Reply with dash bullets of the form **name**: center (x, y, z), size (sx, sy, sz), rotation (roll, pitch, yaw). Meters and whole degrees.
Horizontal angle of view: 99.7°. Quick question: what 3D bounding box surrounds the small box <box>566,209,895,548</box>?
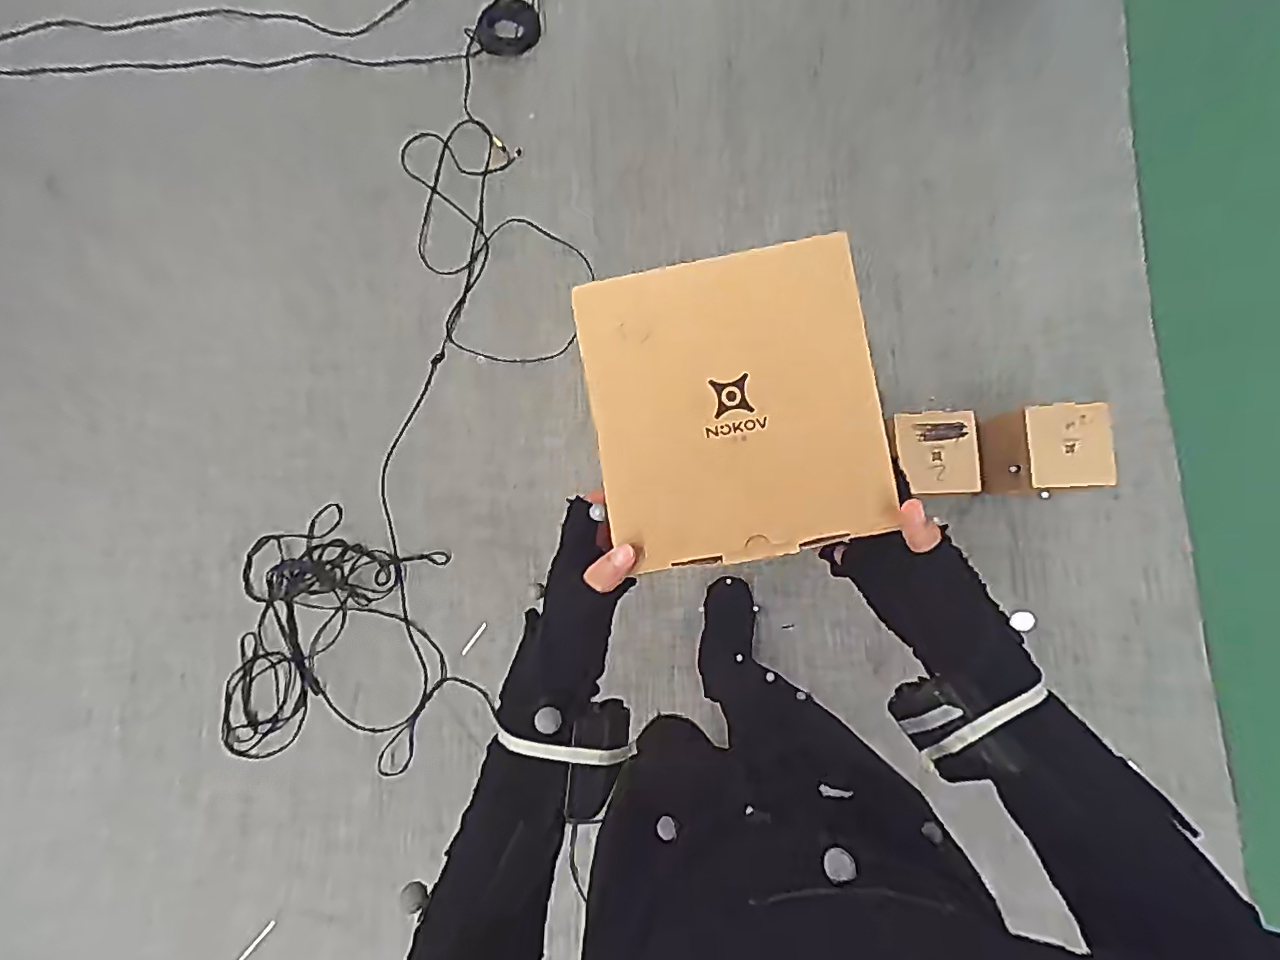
- **small box**: center (0.054, -0.056, 0.391), size (0.168, 0.176, 0.179), rotation (-11, 88, 4)

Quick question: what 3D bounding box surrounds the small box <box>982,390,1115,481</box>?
- **small box**: center (0.884, -0.089, 1.185), size (0.168, 0.176, 0.179), rotation (-2, 84, 5)
